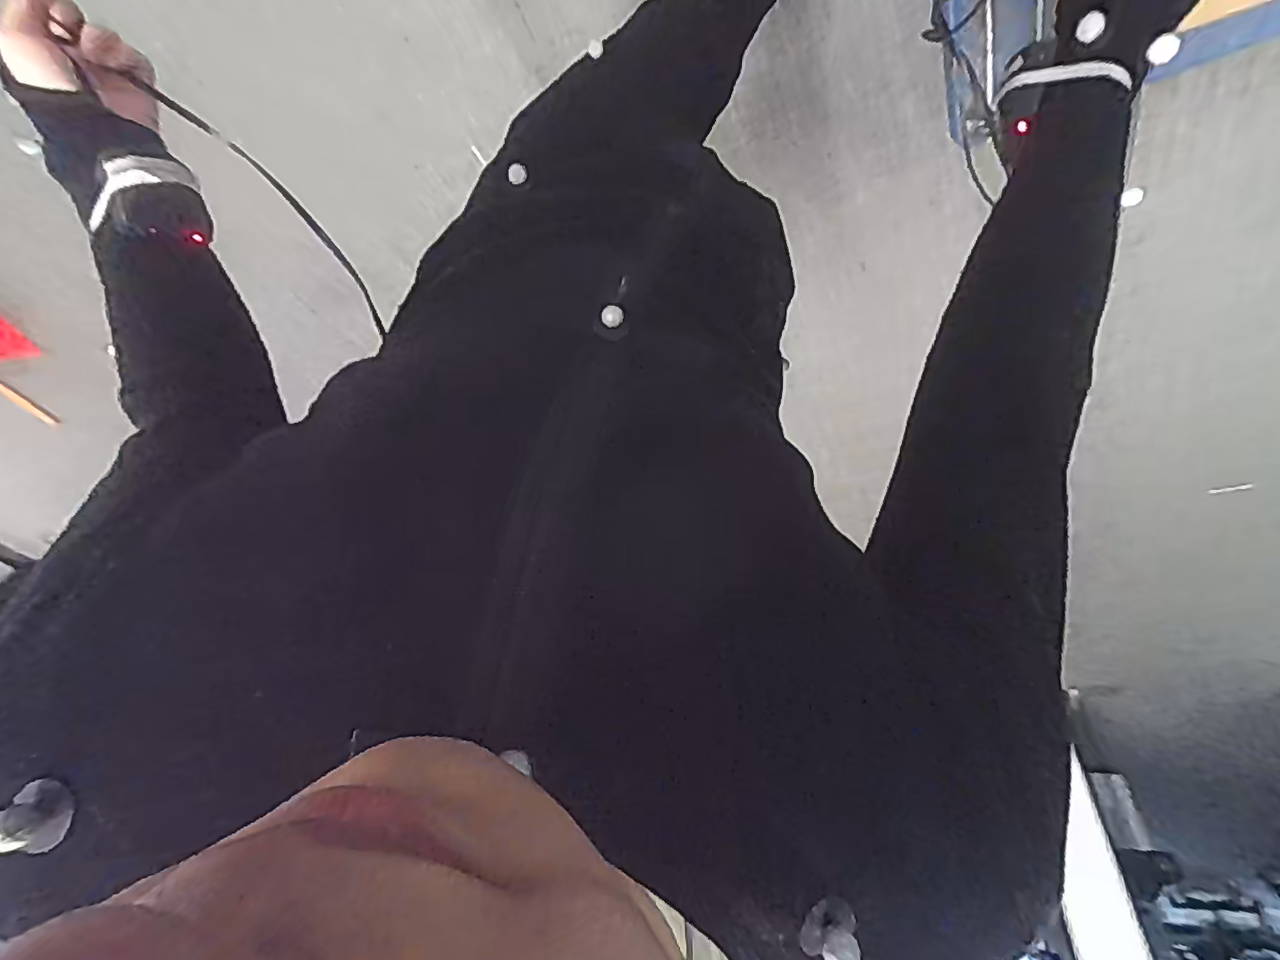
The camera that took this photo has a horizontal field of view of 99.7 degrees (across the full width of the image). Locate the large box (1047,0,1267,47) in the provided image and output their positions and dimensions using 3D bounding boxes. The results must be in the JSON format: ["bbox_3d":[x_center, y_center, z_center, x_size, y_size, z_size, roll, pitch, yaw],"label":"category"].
[{"bbox_3d":[0.755,-0.778,0.606,0.408,0.320,0.320,-10,134,21],"label":"large box"}]
